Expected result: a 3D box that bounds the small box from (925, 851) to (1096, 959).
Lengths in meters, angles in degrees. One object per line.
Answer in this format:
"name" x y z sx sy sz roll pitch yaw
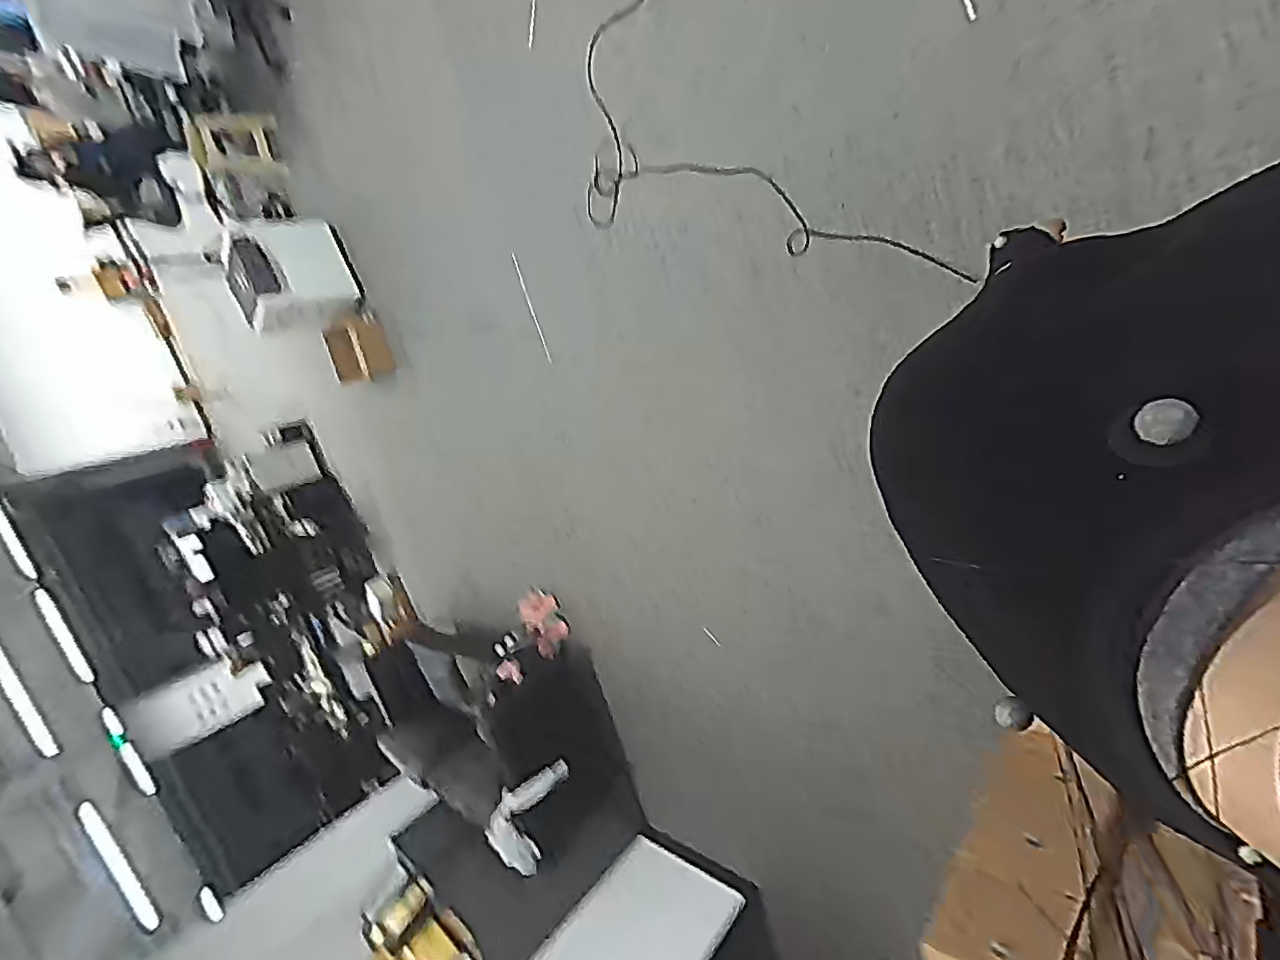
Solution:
"small box" 0.552 0.701 0.796 0.179 0.176 0.168 -6 105 48
